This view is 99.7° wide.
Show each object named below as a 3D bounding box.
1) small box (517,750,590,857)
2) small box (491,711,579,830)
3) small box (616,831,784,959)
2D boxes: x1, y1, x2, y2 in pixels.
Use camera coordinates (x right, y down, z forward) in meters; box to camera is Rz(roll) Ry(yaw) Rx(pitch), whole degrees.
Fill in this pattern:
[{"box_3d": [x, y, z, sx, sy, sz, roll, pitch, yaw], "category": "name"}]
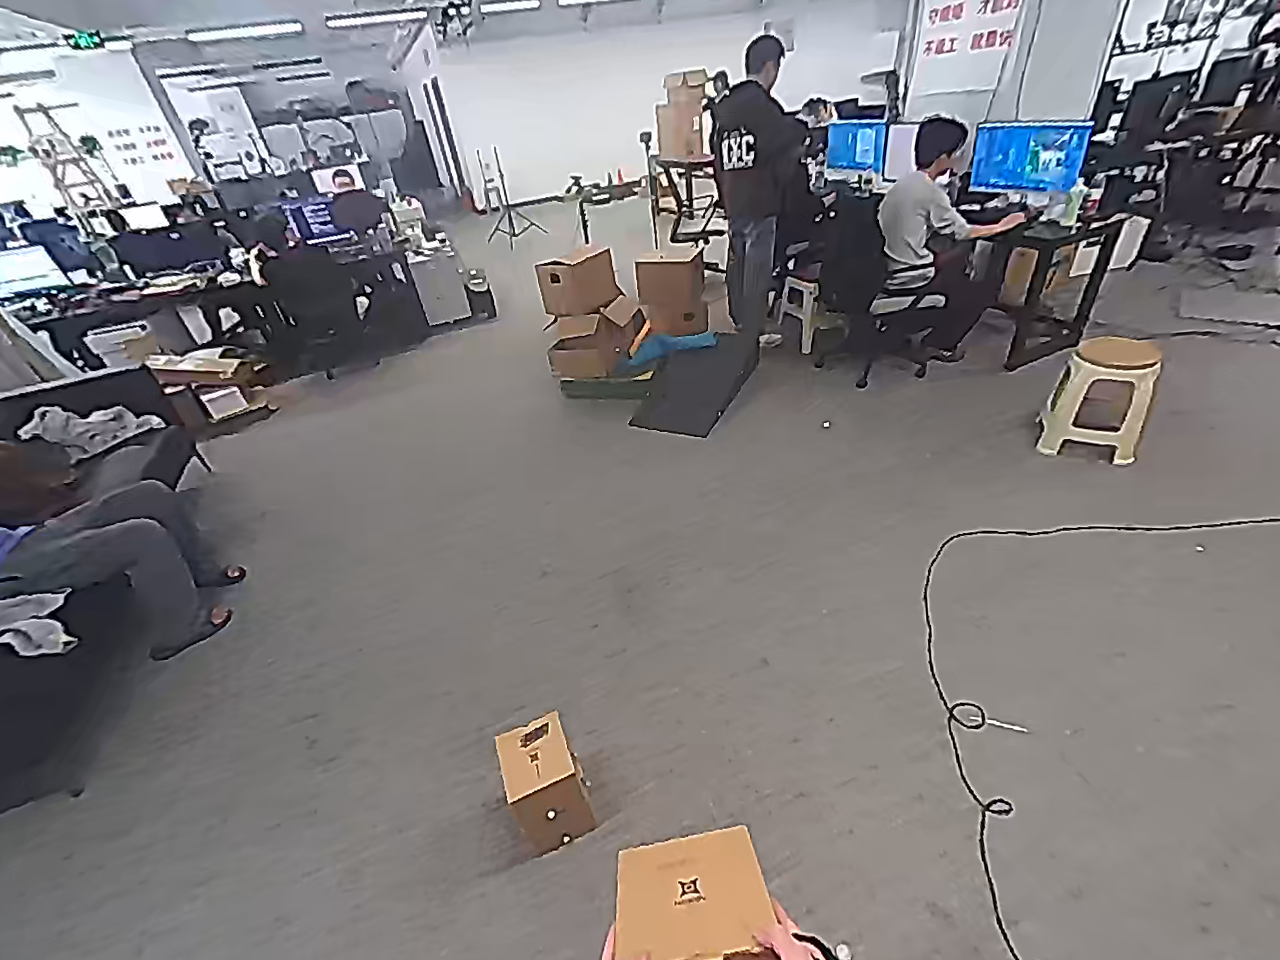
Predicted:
[{"box_3d": [-0.244, 0.871, 1.462, 0.179, 0.176, 0.168, -20, 39, -16], "category": "small box"}, {"box_3d": [-0.261, 0.725, 1.349, 0.168, 0.176, 0.179, -18, 37, -12], "category": "small box"}, {"box_3d": [0.070, 0.535, 0.588, 0.168, 0.176, 0.179, -11, 1, -2], "category": "small box"}]
